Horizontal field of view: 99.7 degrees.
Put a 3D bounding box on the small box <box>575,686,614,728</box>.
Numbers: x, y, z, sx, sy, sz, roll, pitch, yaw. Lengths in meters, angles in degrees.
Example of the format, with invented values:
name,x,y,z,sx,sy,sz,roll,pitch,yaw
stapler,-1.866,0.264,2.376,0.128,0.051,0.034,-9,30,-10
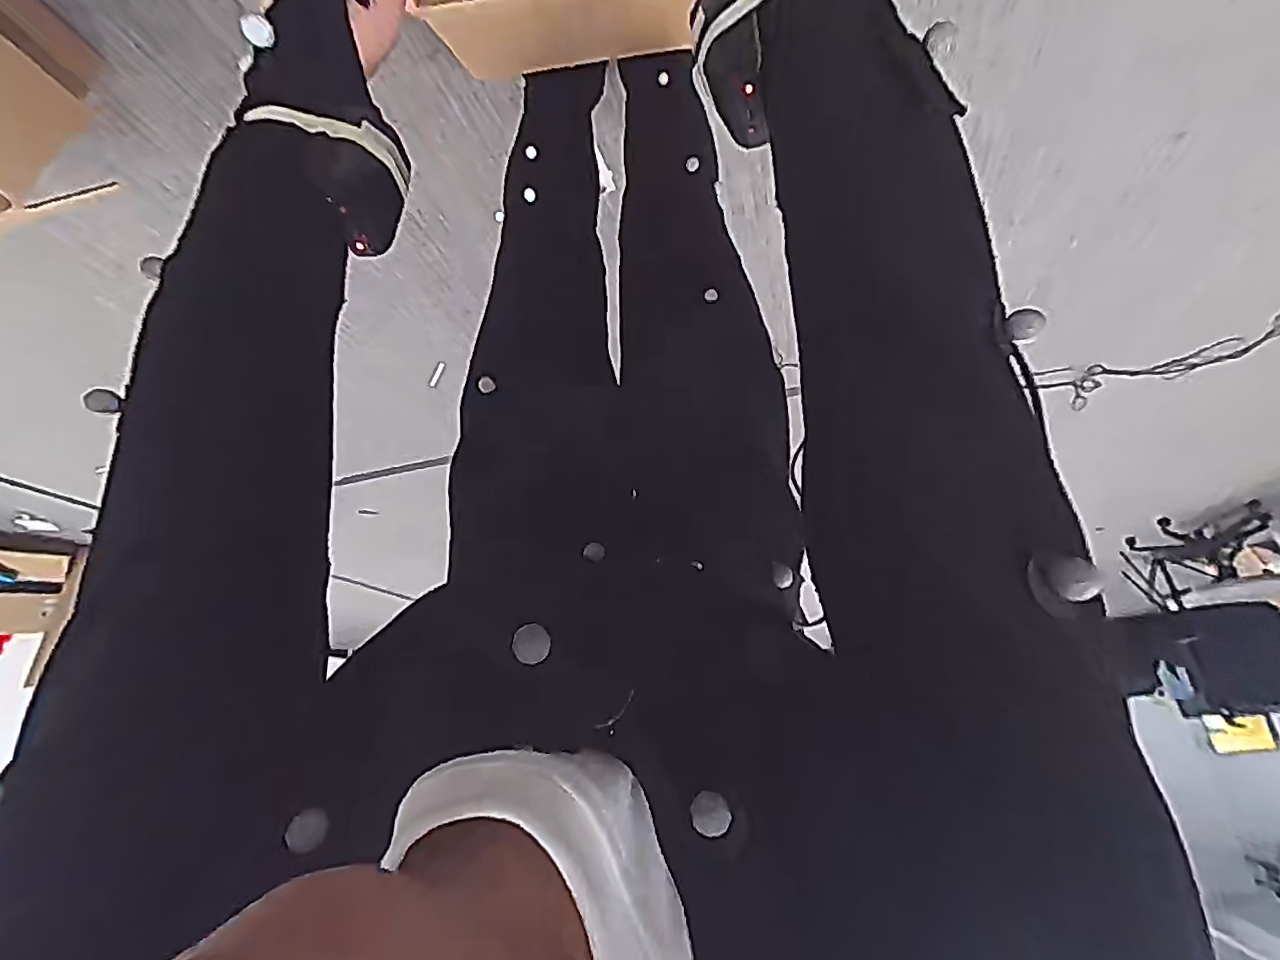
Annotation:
name,x,y,z,sx,sy,sz,roll,pitch,yaw
small box,-0.232,1.091,2.589,0.179,0.176,0.168,-10,153,14
